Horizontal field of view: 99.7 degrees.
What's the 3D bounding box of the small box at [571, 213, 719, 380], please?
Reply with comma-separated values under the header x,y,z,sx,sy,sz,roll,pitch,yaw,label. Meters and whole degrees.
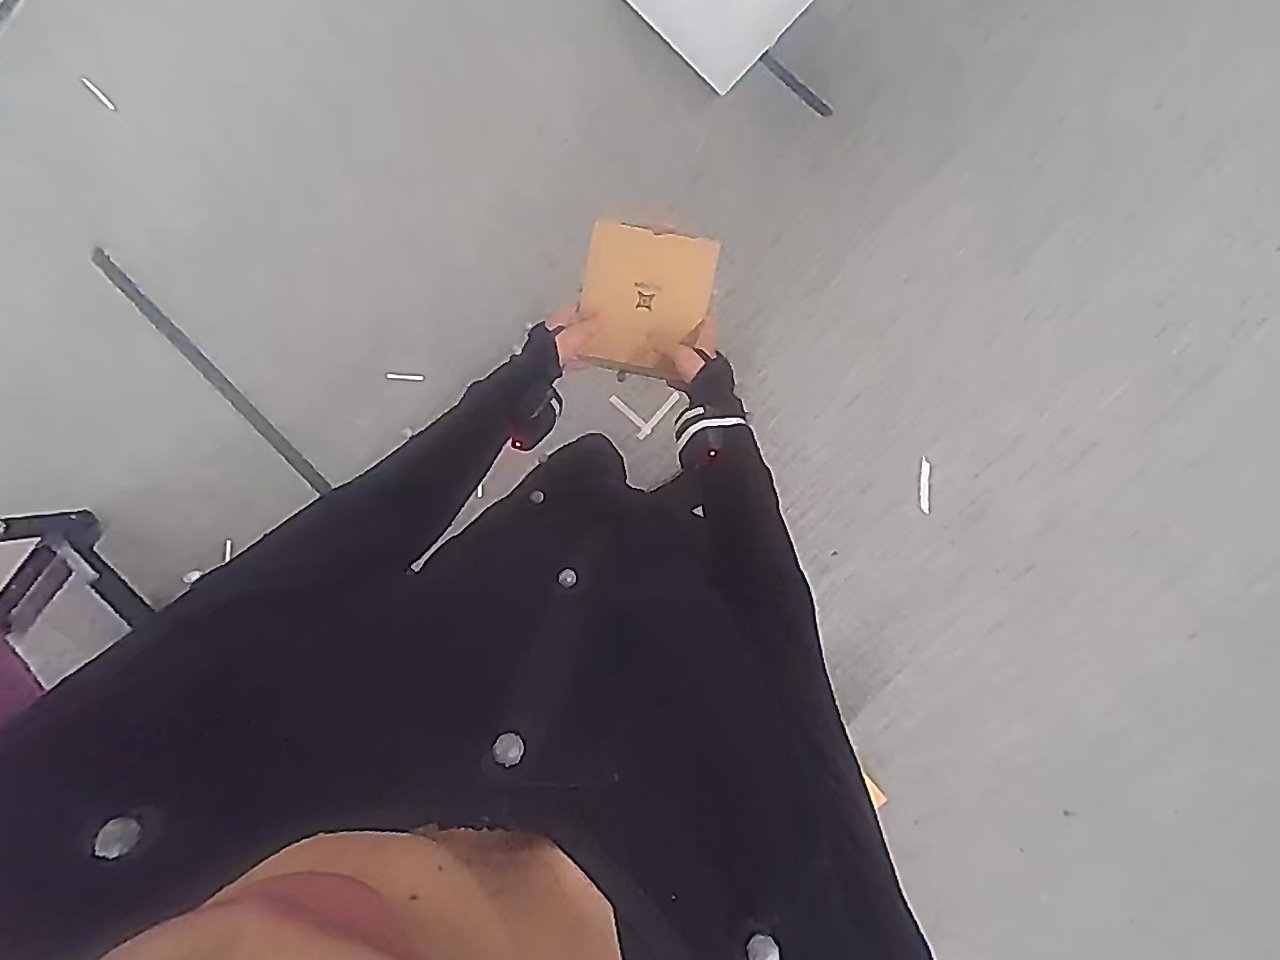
x,y,z,sx,sy,sz,roll,pitch,yaw,label
0.003,-0.248,0.774,0.168,0.176,0.179,11,97,-2,small box
